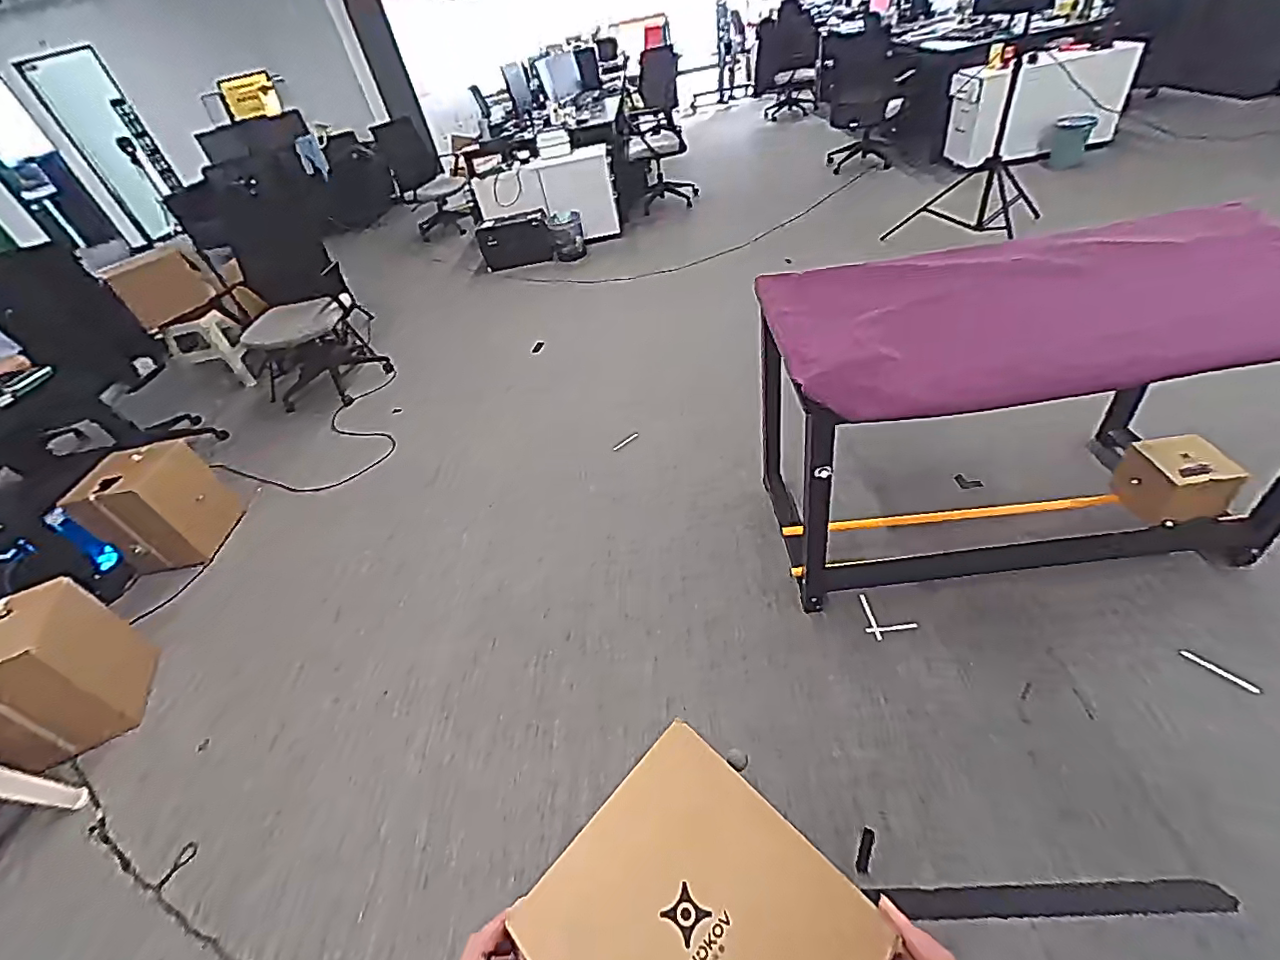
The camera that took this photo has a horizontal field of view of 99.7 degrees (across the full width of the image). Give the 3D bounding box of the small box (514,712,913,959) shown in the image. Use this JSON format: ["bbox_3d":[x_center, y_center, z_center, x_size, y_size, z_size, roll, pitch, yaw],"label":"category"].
[{"bbox_3d":[0.048,0.304,0.379,0.179,0.176,0.168,36,68,29],"label":"small box"}]

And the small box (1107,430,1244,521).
[{"bbox_3d":[1.408,-0.006,1.438,0.168,0.176,0.179,-8,41,7],"label":"small box"}]
